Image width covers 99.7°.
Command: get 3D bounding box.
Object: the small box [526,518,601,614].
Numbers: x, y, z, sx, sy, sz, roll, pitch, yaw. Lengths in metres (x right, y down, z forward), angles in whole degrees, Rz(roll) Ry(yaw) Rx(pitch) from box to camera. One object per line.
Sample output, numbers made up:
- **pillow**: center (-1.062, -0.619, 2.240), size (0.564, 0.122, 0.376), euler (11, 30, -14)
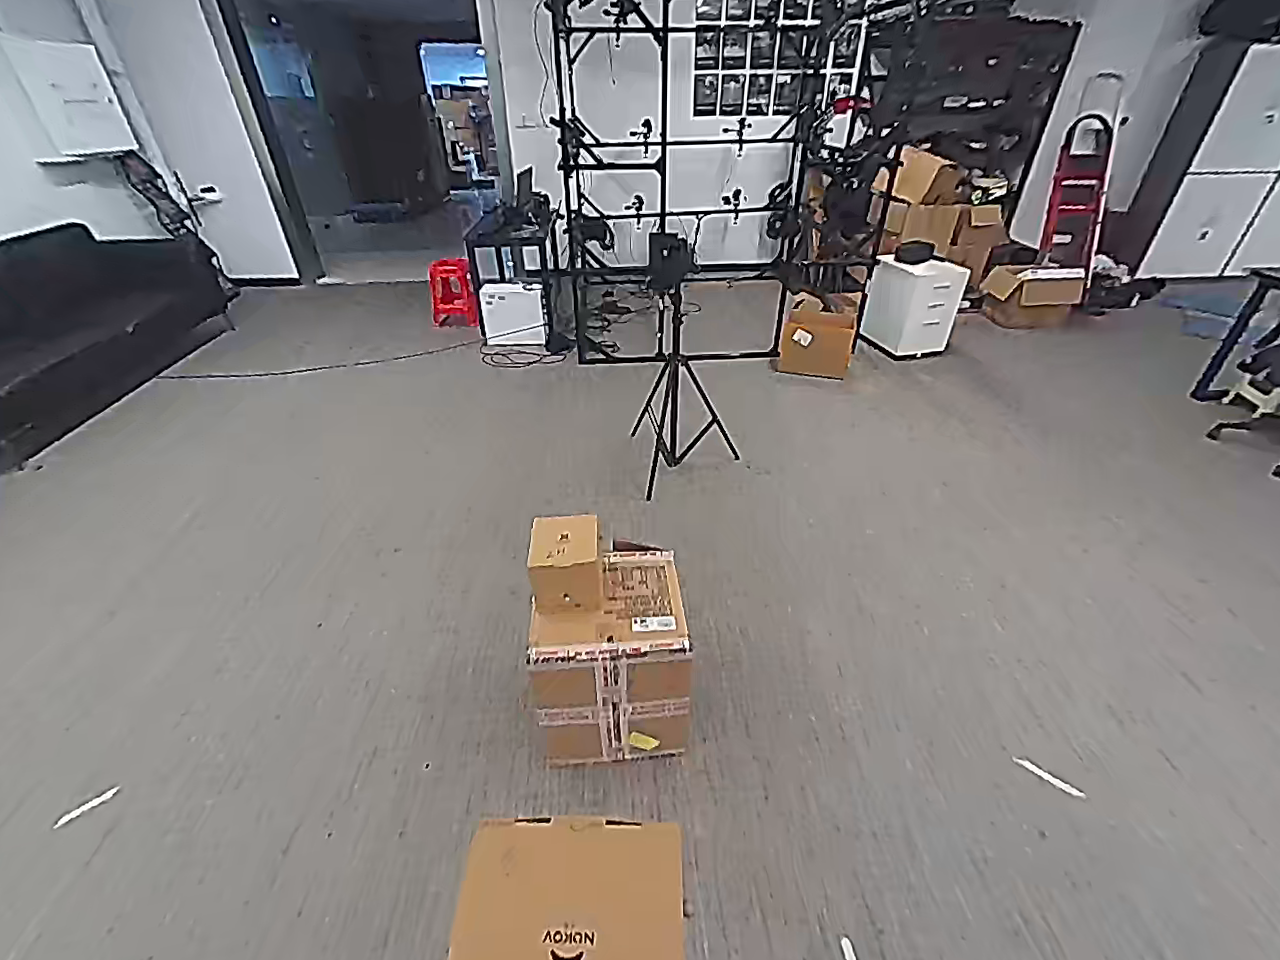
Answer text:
- **small box**: center (-0.188, 0.219, 1.380), size (0.168, 0.176, 0.179), euler (-4, 37, -2)
